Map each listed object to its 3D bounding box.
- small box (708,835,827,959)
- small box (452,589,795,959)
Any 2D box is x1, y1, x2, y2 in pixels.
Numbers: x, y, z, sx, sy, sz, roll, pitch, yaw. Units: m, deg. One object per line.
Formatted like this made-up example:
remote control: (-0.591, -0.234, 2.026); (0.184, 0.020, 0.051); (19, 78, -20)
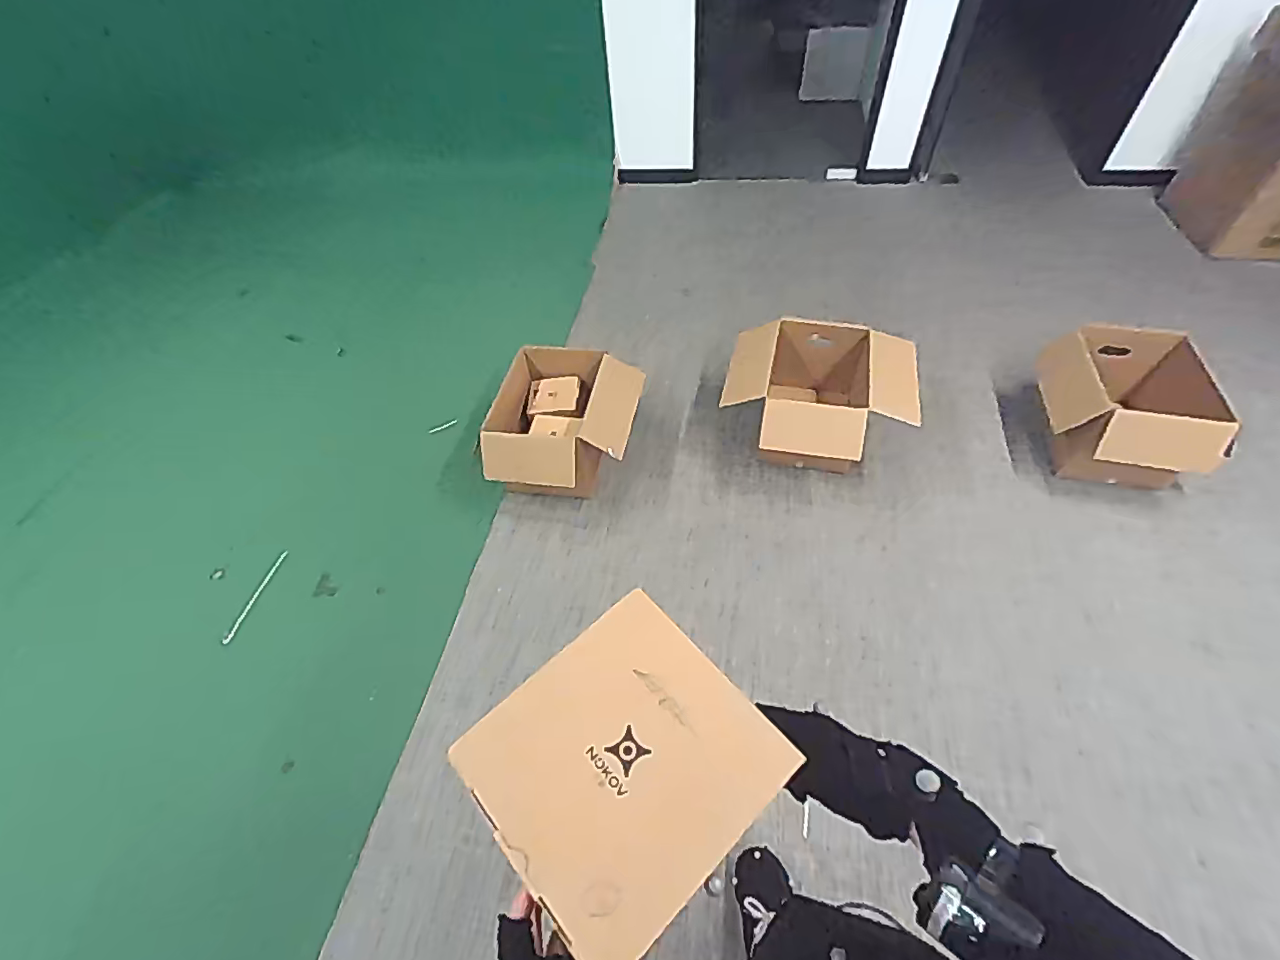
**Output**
small box: (0.257, 0.869, 1.071); (0.168, 0.176, 0.179); (2, 19, 45)
small box: (-0.009, 0.227, 0.427); (0.179, 0.176, 0.168); (-37, 63, -21)
